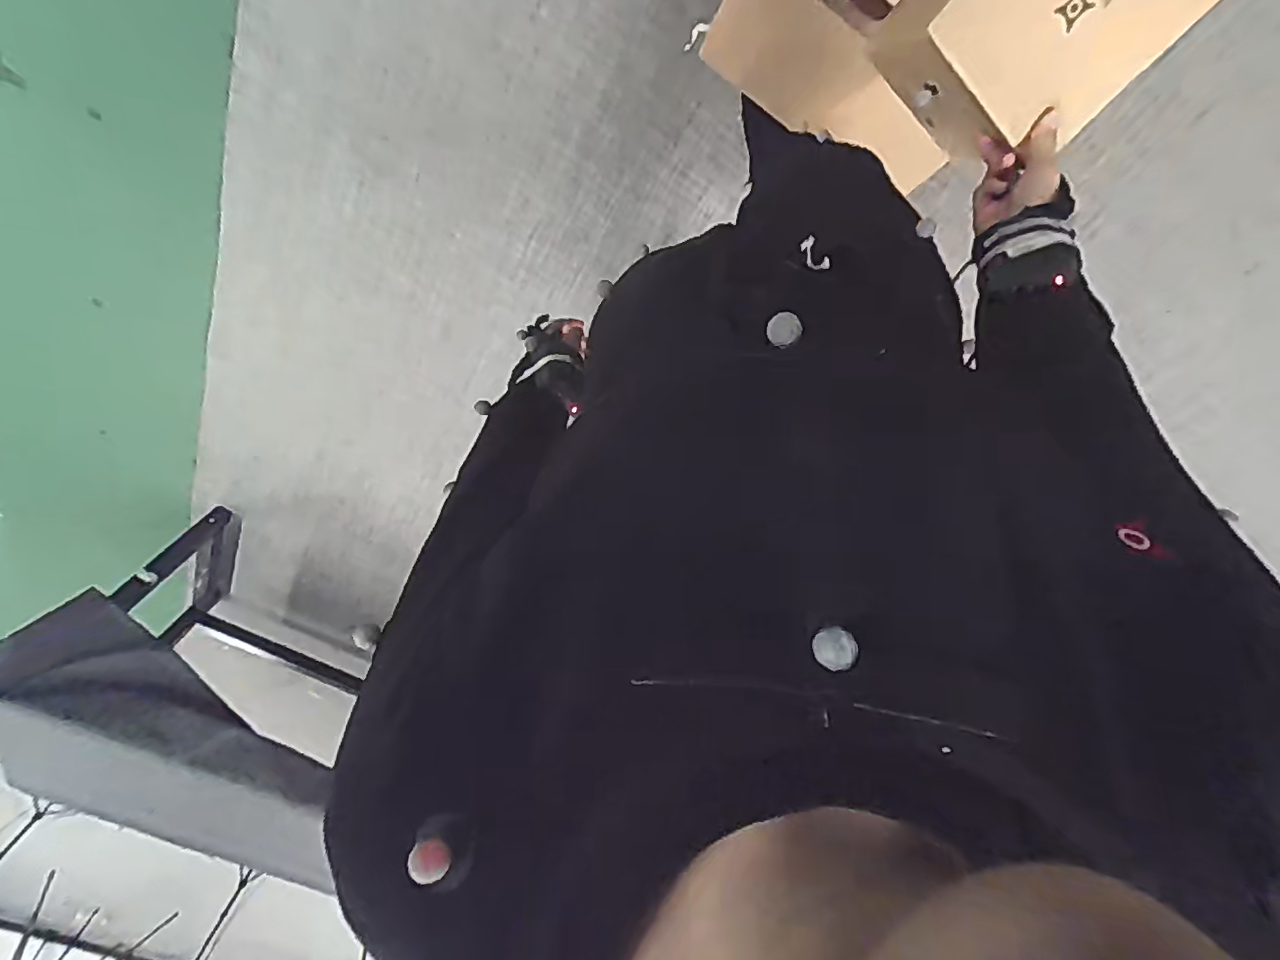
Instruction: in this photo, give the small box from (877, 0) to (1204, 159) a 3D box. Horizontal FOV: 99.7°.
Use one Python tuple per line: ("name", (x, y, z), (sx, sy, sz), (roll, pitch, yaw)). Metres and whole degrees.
("small box", (0.344, -0.425, 0.489), (0.168, 0.176, 0.179), (35, 116, -18))
